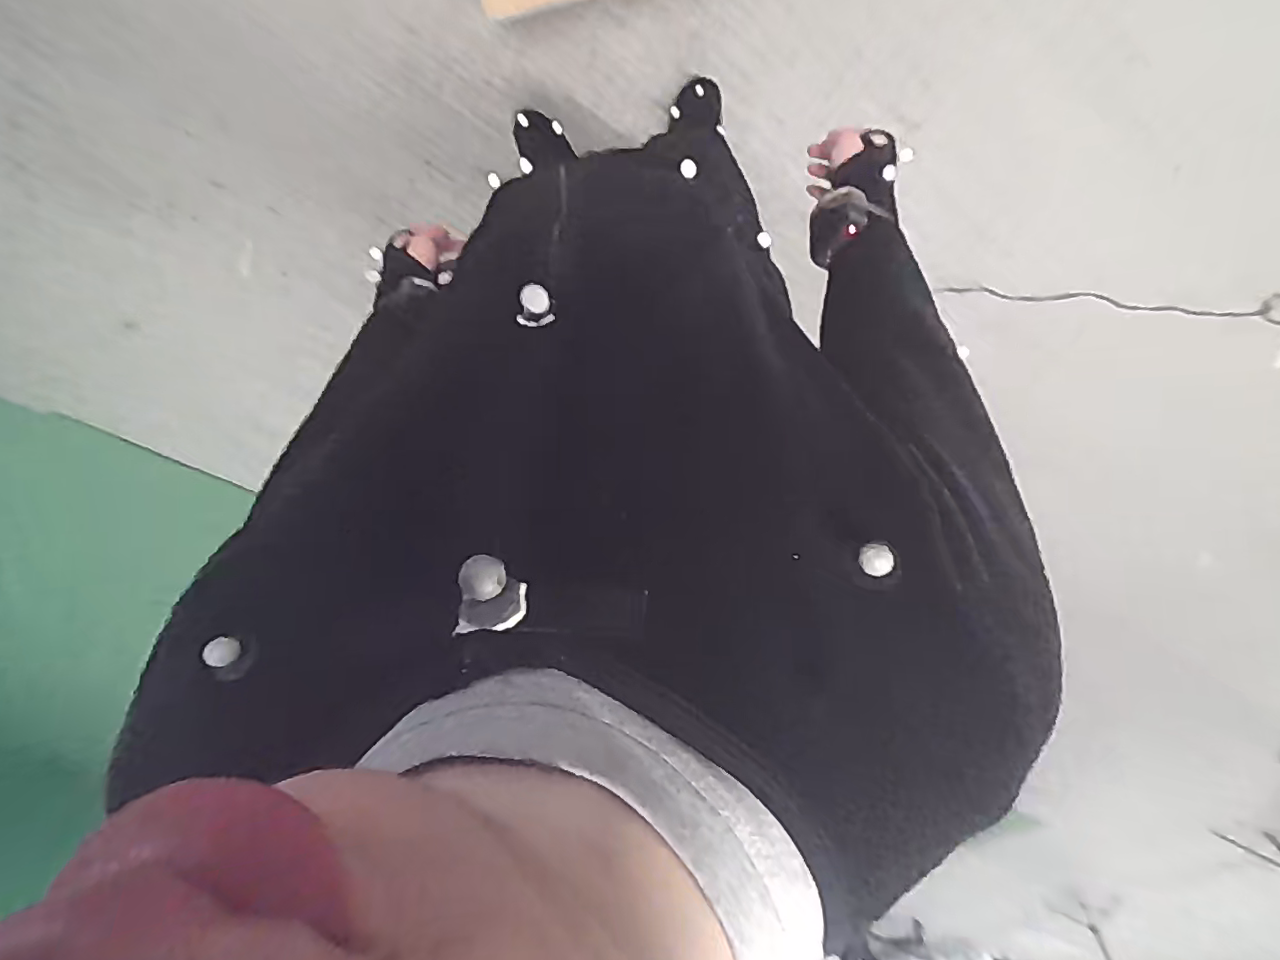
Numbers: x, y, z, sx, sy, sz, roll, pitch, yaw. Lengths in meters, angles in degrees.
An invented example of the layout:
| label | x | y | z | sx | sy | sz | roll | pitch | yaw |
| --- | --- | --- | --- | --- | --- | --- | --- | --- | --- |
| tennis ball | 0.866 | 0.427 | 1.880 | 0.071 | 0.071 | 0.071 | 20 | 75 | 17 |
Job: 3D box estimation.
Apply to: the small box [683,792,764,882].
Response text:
| label | x | y | z | sx | sy | sz | roll | pitch | yaw |
| --- | --- | --- | --- | --- | --- | --- | --- | --- | --- |
| small box | 0.243 | 1.061 | 1.615 | 0.179 | 0.176 | 0.168 | 29 | 124 | -17 |
